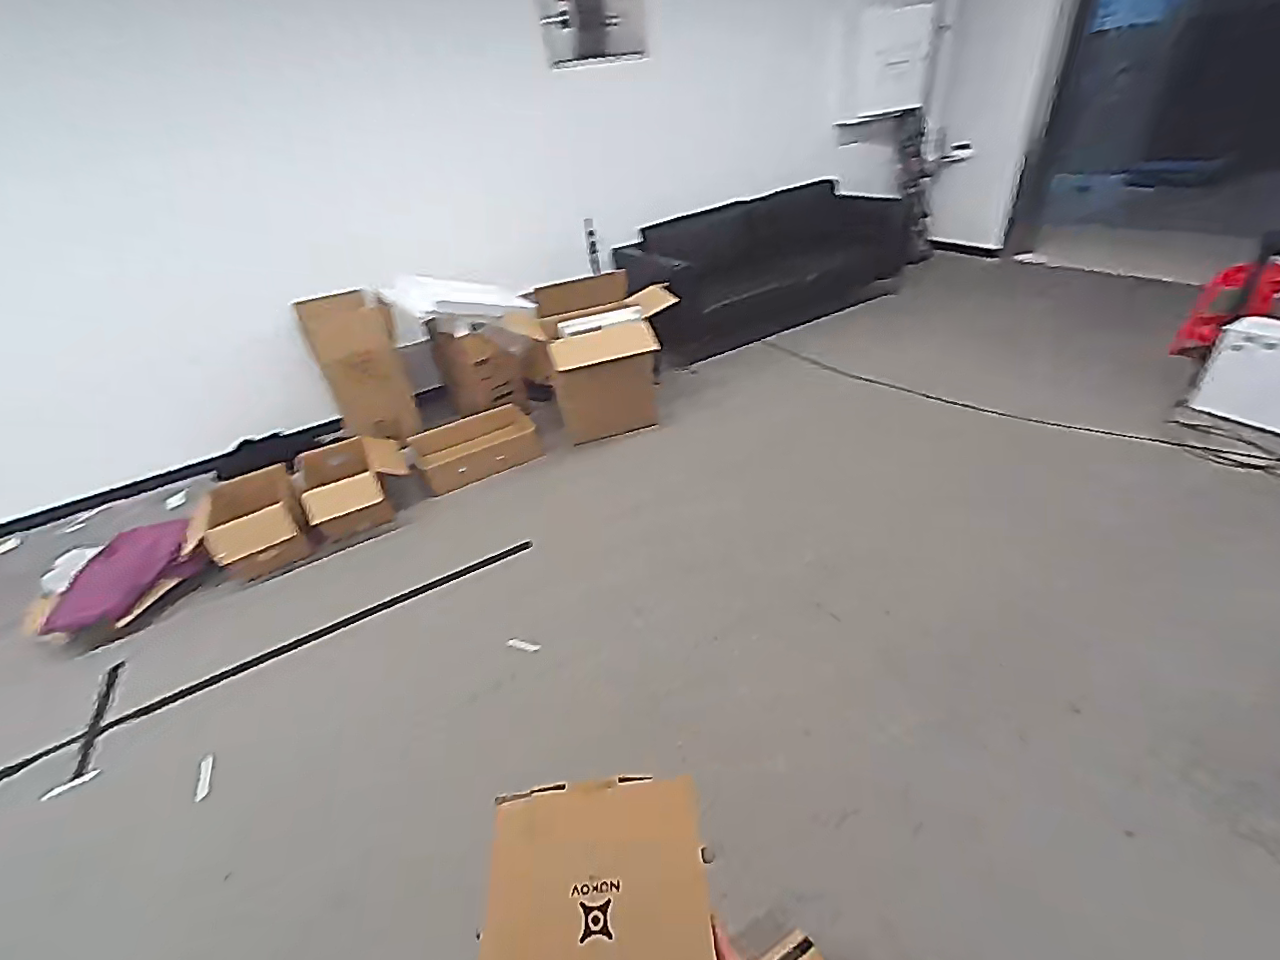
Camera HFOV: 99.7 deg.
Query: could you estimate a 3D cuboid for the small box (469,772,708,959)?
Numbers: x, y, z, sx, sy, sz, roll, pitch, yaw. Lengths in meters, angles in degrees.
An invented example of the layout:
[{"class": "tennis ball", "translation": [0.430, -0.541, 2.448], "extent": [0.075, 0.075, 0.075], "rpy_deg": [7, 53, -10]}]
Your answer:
[{"class": "small box", "translation": [-0.035, 0.369, 0.442], "extent": [0.168, 0.176, 0.179], "rpy_deg": [-6, 43, -2]}]
